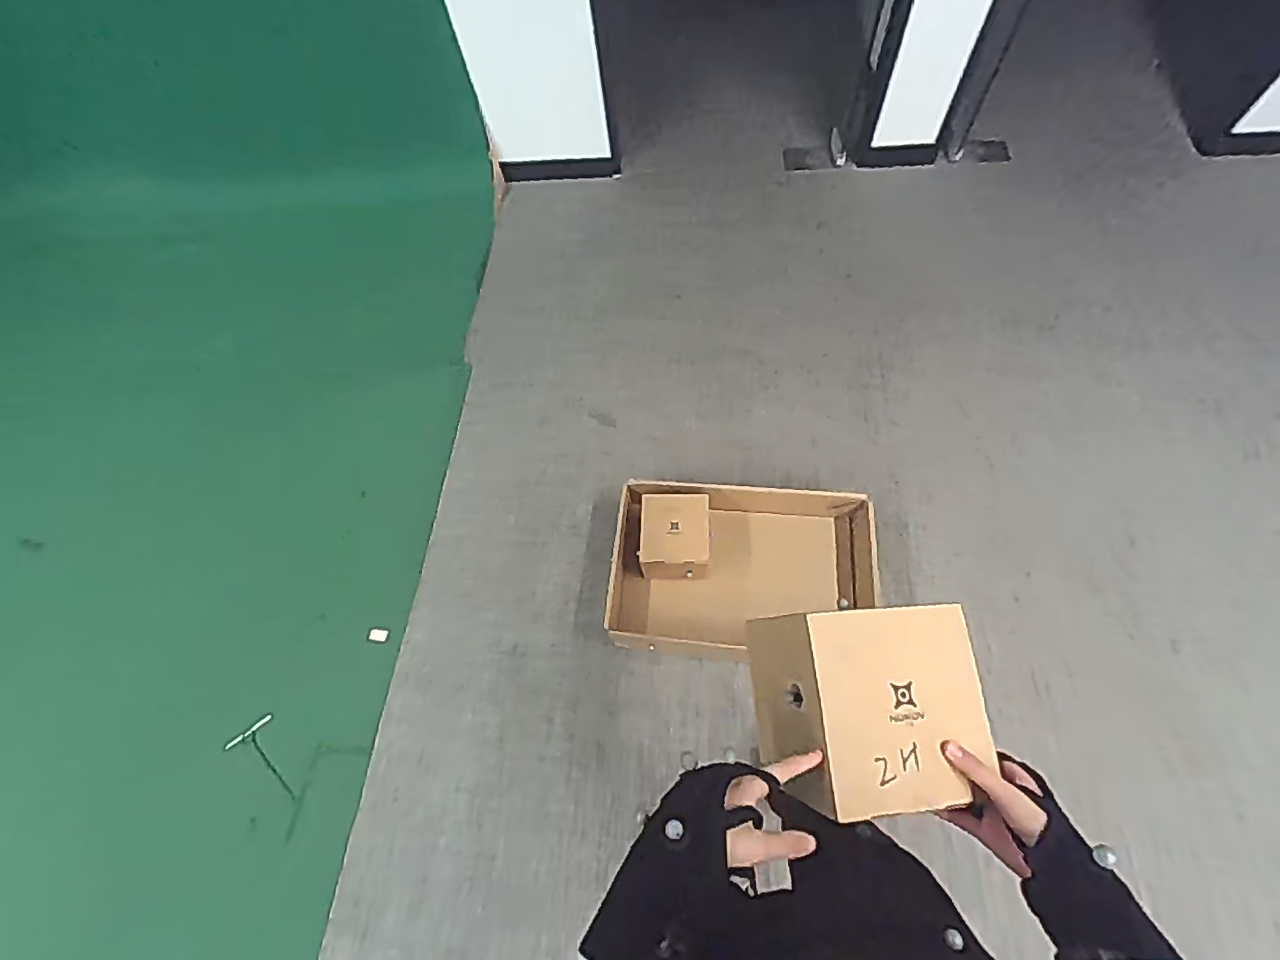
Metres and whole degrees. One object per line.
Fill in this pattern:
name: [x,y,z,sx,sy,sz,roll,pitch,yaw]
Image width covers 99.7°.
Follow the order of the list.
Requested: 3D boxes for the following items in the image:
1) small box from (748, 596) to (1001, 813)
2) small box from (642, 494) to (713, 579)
small box: [0.221,0.221,0.562,0.168,0.176,0.179,0,72,-9]
small box: [0.101,0.146,1.364,0.168,0.176,0.179,1,66,7]
